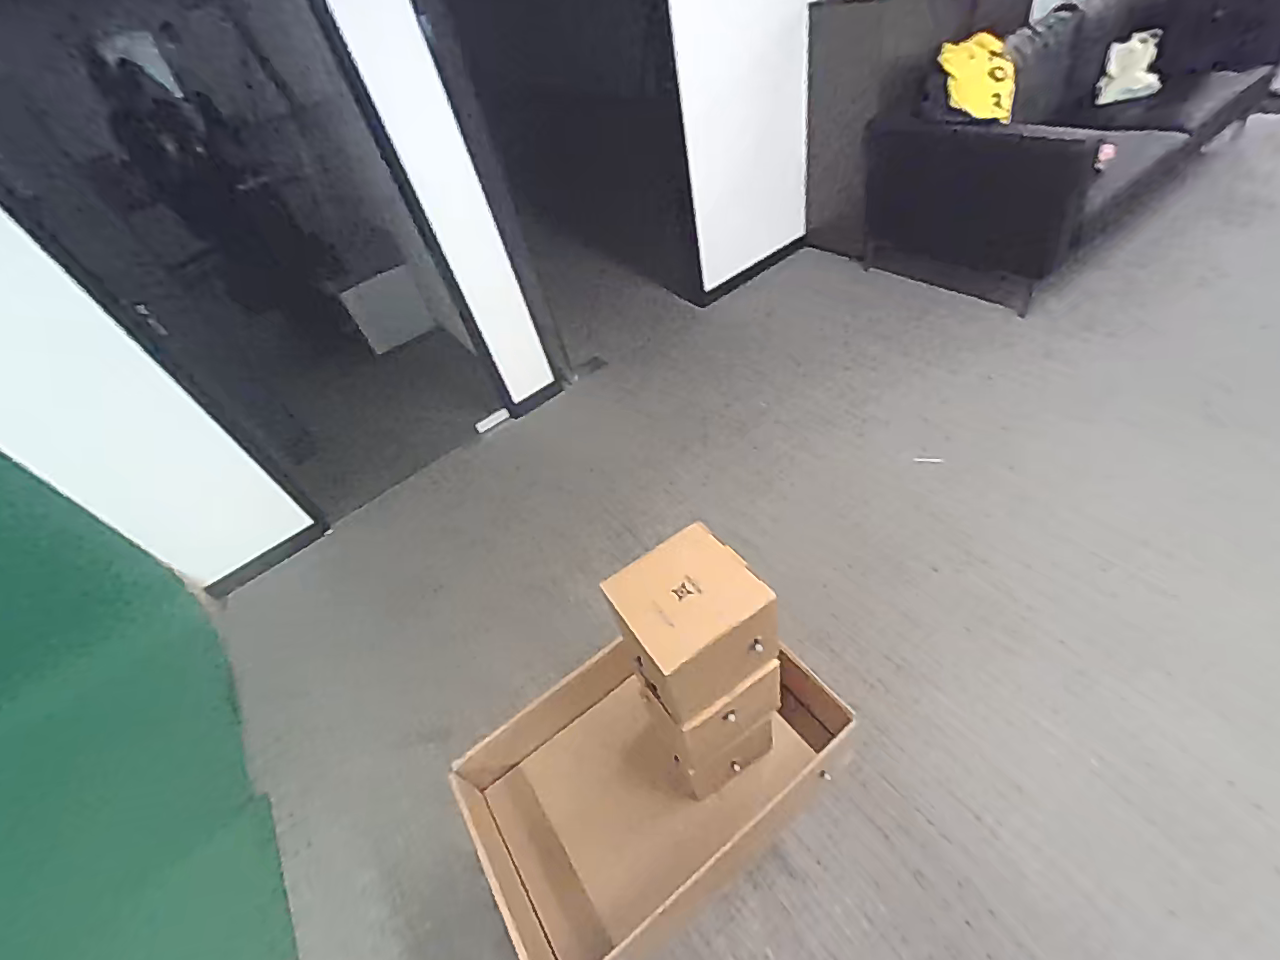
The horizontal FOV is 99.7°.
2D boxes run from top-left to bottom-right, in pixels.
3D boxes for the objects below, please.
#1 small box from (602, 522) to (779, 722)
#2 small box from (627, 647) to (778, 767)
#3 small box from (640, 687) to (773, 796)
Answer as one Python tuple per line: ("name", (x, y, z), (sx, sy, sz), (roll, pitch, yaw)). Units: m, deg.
("small box", (0.074, 0.199, 0.759), (0.179, 0.176, 0.168), (-31, 45, -14))
("small box", (0.106, 0.319, 0.865), (0.179, 0.176, 0.168), (-30, 46, -15))
("small box", (0.126, 0.438, 0.976), (0.168, 0.176, 0.179), (-29, 45, -14))
